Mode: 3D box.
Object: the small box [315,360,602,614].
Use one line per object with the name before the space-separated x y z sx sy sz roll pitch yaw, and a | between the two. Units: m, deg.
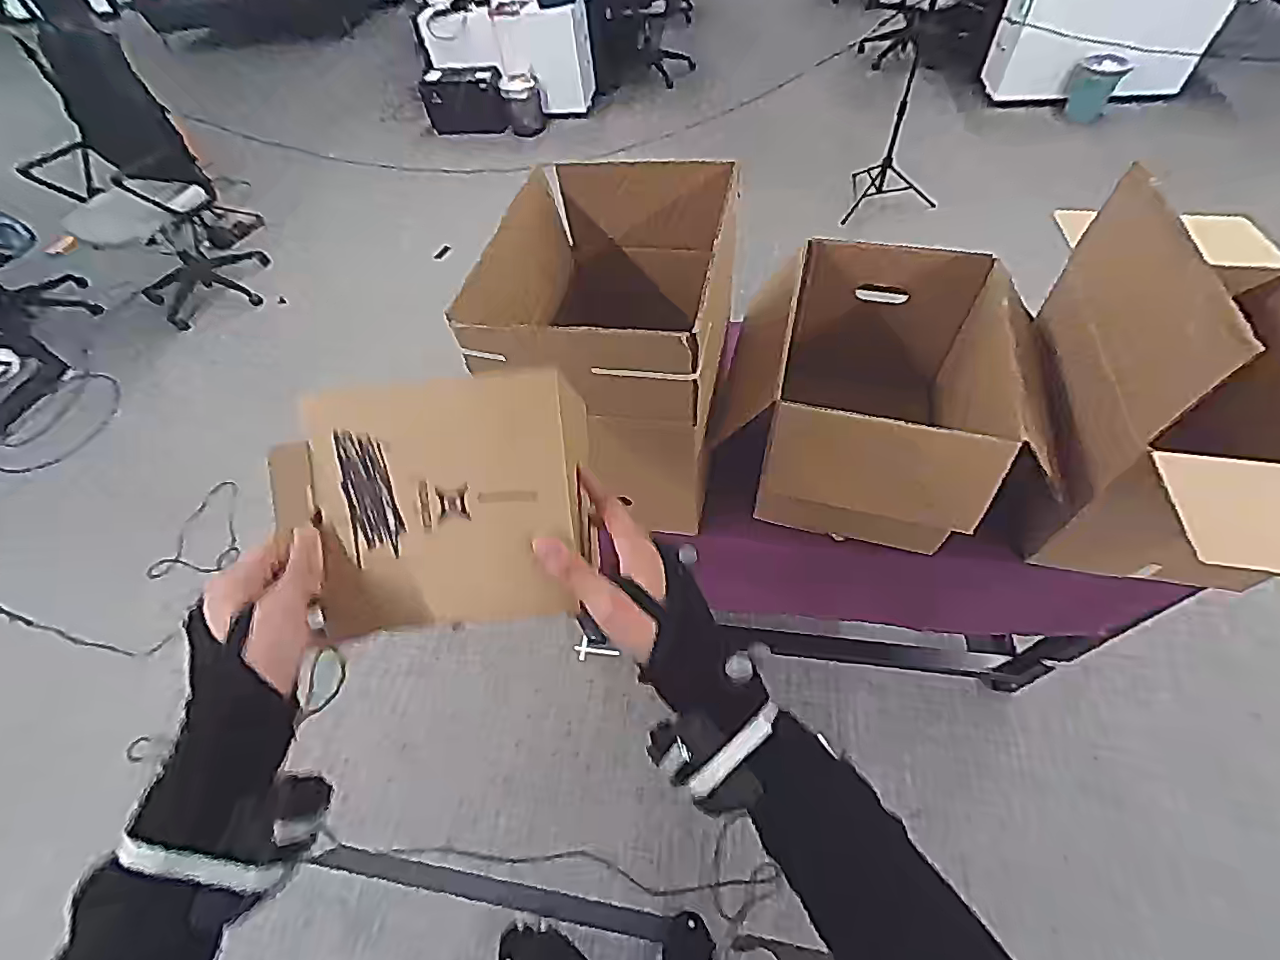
small box | -0.130 0.006 0.447 0.179 0.176 0.168 -5 90 0
